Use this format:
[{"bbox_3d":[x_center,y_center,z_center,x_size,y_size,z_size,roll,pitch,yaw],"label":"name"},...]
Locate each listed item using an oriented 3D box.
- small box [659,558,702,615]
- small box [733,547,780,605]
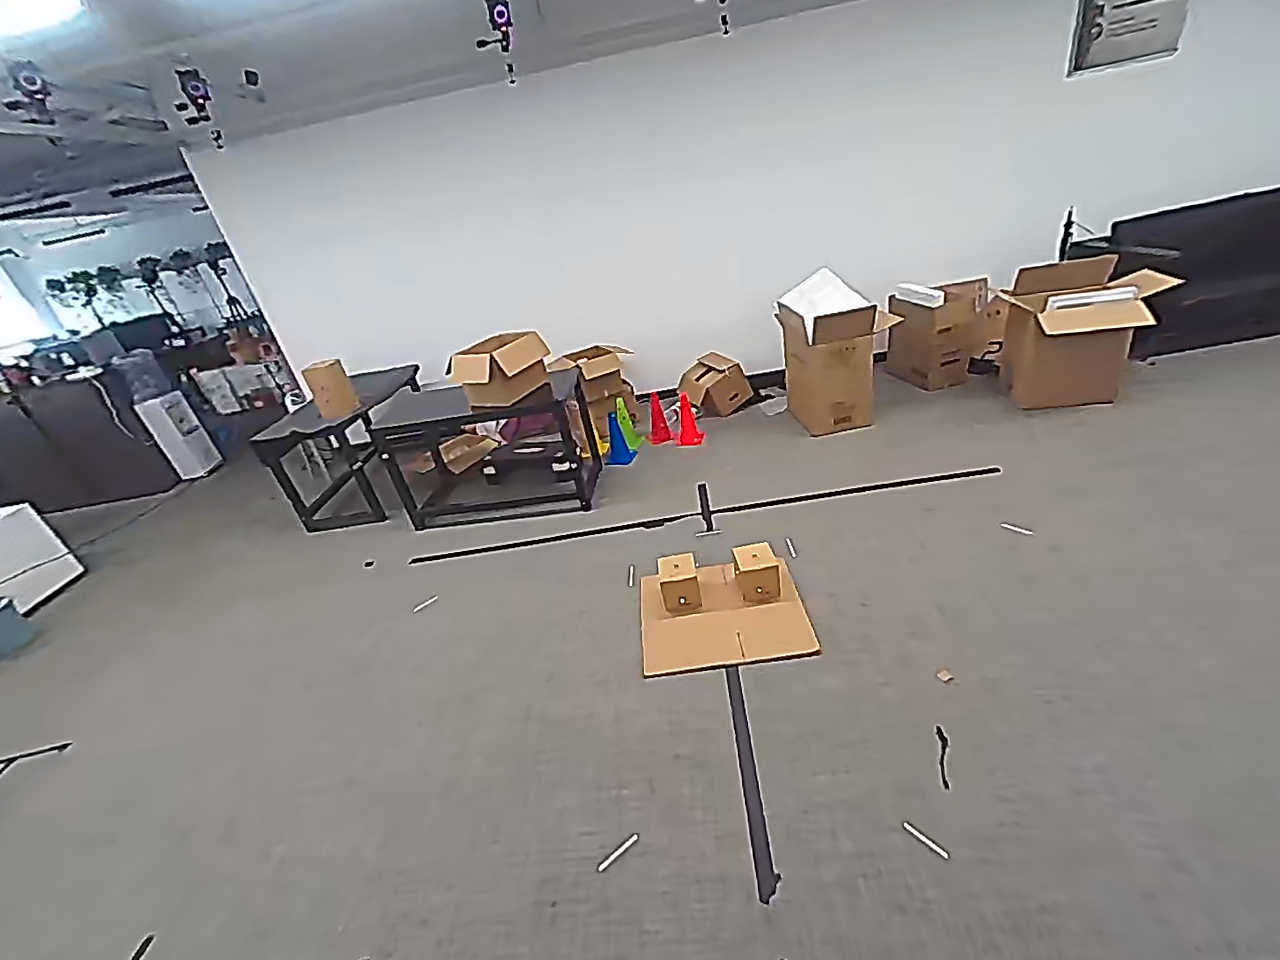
[{"bbox_3d":[0.181,0.480,2.439,0.168,0.176,0.179,-11,28,4],"label":"small box"},{"bbox_3d":[0.520,0.429,2.415,0.168,0.176,0.179,-11,28,1],"label":"small box"}]
